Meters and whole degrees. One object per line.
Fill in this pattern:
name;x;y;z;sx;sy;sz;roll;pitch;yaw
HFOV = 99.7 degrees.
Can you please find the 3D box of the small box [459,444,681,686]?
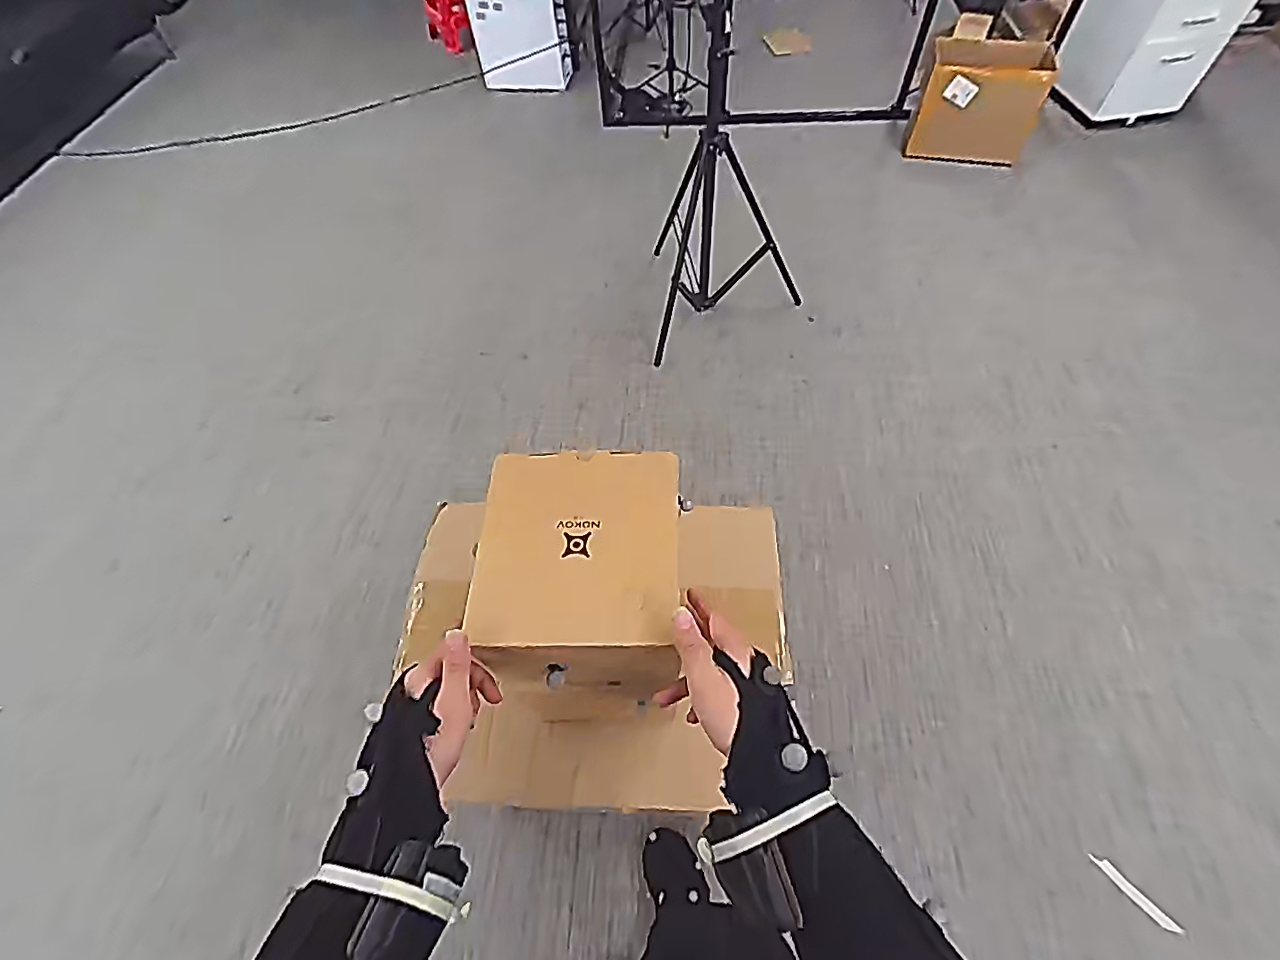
small box;-0.046;0.086;0.499;0.168;0.176;0.179;-1;57;2
